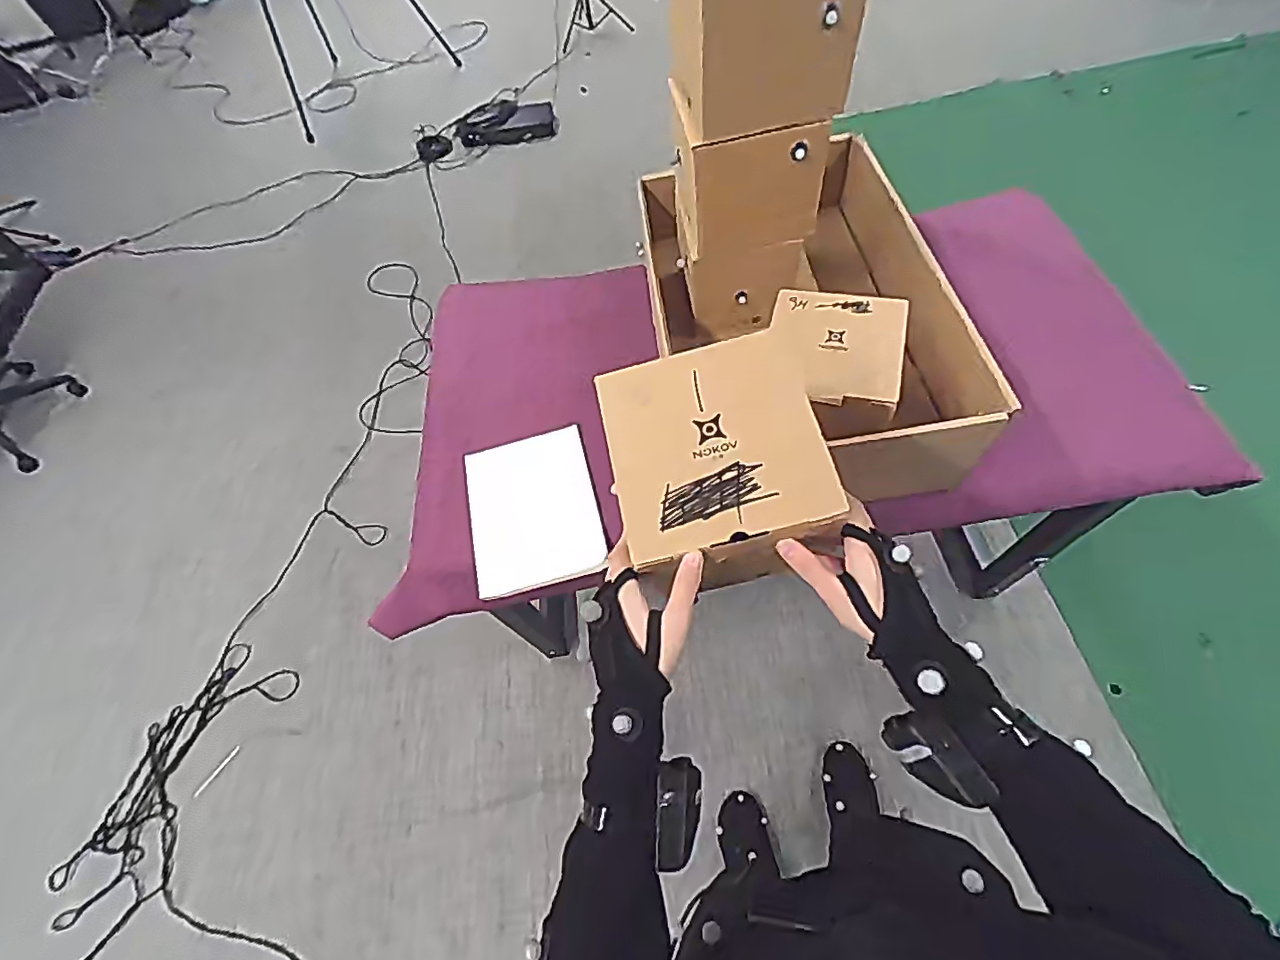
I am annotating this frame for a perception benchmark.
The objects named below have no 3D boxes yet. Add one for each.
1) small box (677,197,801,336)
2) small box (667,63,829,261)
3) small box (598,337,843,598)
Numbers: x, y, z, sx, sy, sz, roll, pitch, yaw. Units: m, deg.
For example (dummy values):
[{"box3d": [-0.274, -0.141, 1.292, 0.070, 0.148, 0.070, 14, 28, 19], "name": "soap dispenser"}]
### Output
[{"box3d": [0.159, -0.358, 0.899, 0.168, 0.176, 0.179, -9, 61, 4], "name": "small box"}, {"box3d": [0.144, -0.435, 0.757, 0.179, 0.176, 0.168, -11, 61, 2], "name": "small box"}, {"box3d": [0.071, 0.004, 0.503, 0.168, 0.176, 0.179, -14, 66, 6], "name": "small box"}]
